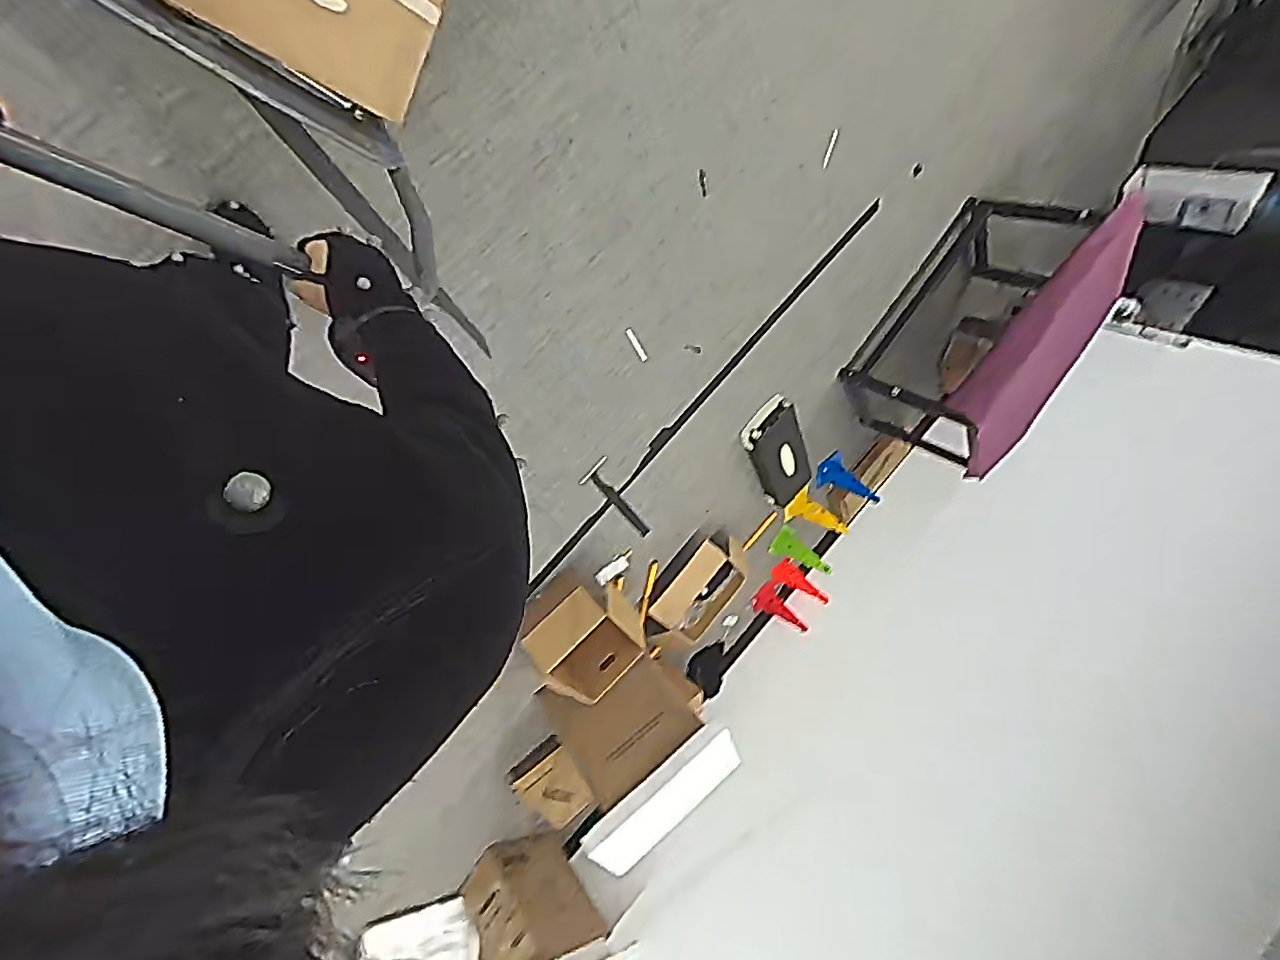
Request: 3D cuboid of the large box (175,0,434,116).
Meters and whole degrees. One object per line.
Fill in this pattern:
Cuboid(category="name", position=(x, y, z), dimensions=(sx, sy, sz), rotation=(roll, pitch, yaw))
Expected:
Cuboid(category="large box", position=(-0.510, -0.791, 0.717), dimensions=(0.408, 0.320, 0.320), rotation=(8, 129, -45))
